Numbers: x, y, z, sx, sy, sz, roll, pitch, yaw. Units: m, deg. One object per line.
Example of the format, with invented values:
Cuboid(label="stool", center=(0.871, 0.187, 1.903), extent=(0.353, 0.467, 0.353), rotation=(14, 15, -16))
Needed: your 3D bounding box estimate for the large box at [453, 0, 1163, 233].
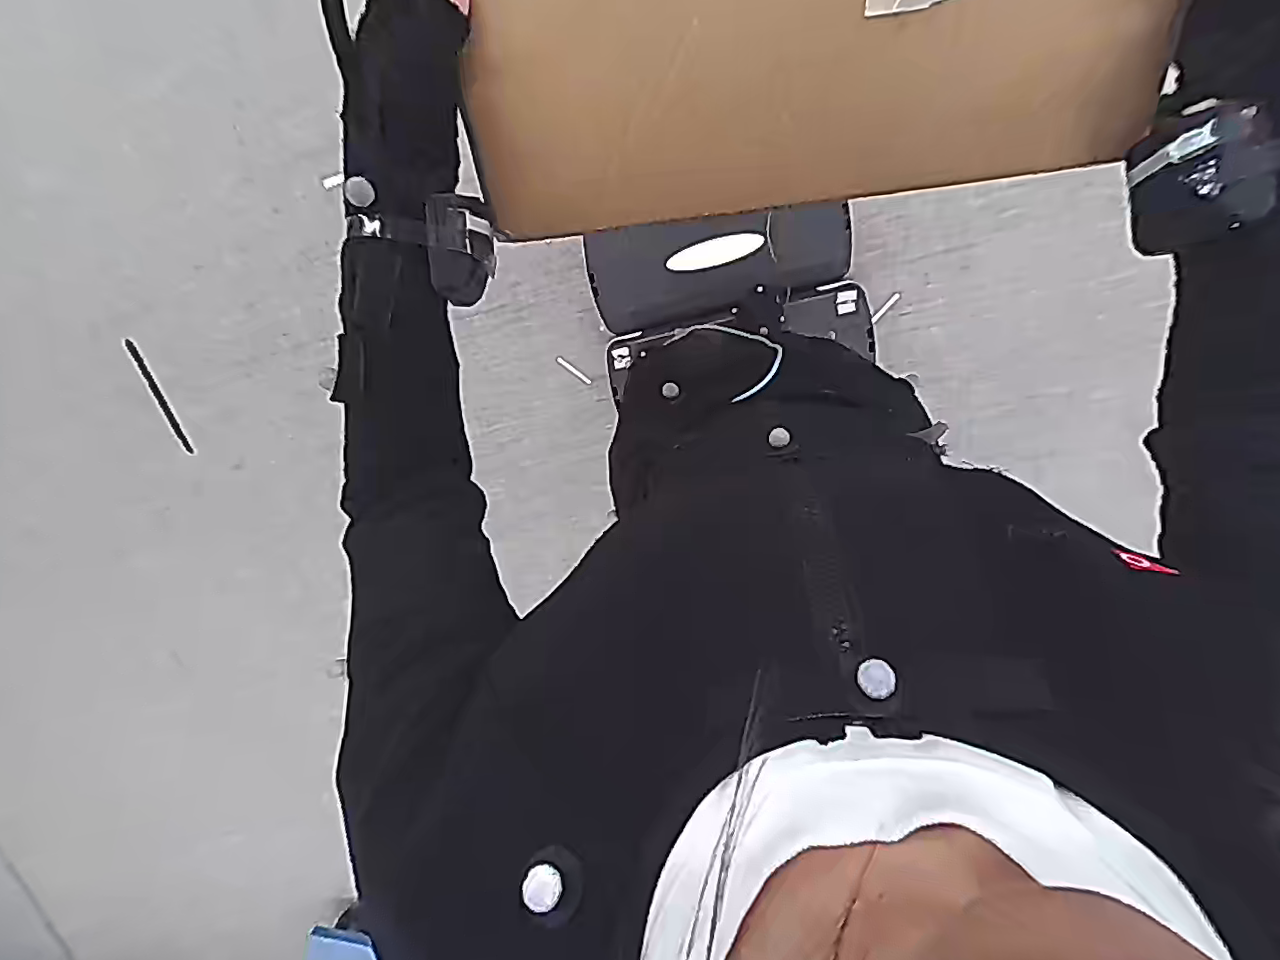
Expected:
Cuboid(label="large box", center=(0.092, -0.402, 0.406), extent=(0.408, 0.320, 0.320), rotation=(-4, 123, 9))

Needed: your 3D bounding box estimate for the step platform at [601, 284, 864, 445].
Cuboid(label="step platform", center=(0.240, -0.305, 1.467), extent=(0.684, 0.204, 0.286), rotation=(-11, 108, 13))
